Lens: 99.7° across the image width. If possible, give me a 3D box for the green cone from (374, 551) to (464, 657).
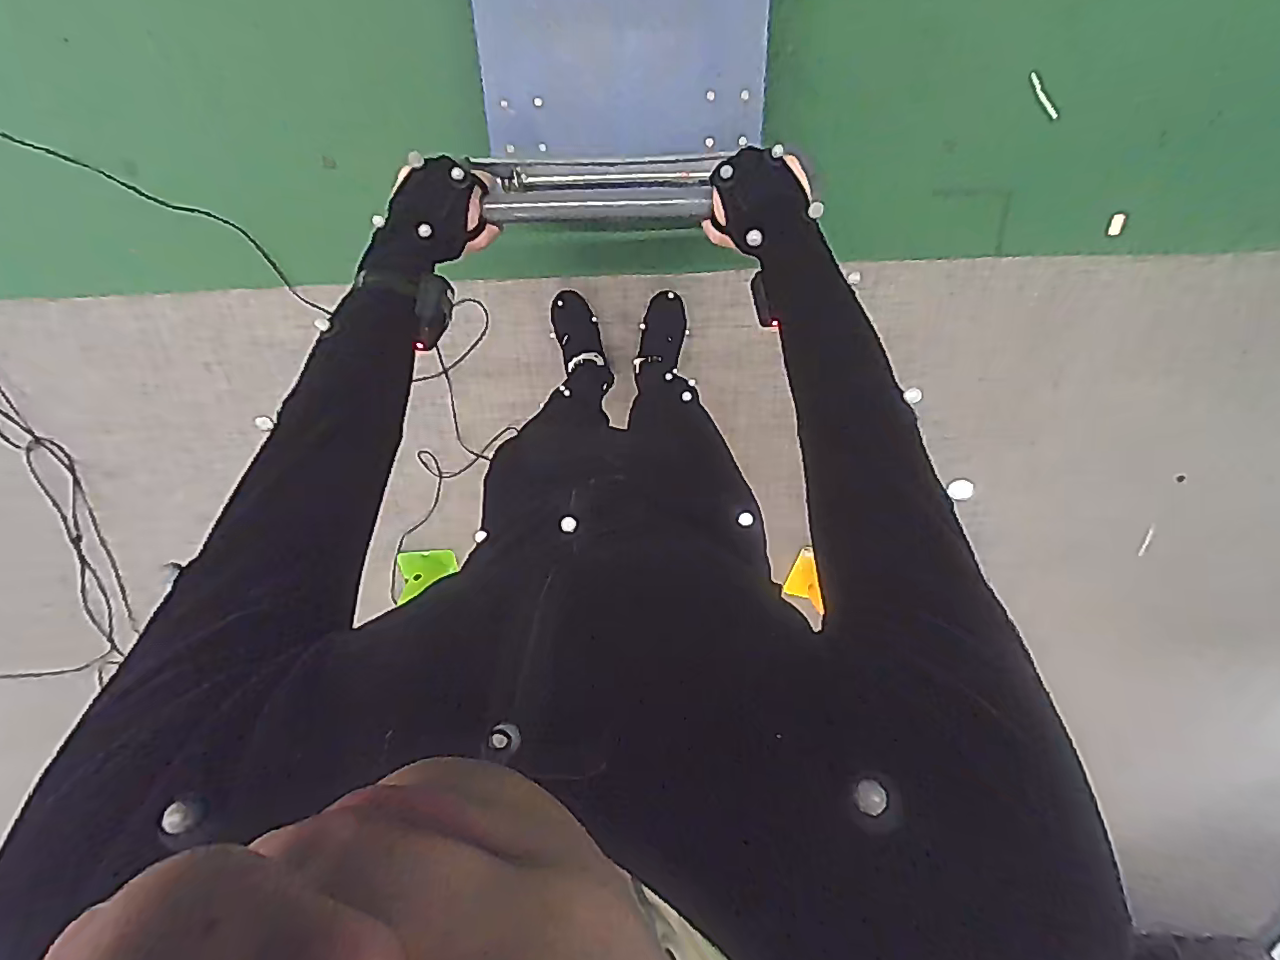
[{"bbox_3d":[-0.731,0.409,1.709,0.202,0.368,0.200,-4,116,5],"label":"green cone"}]
